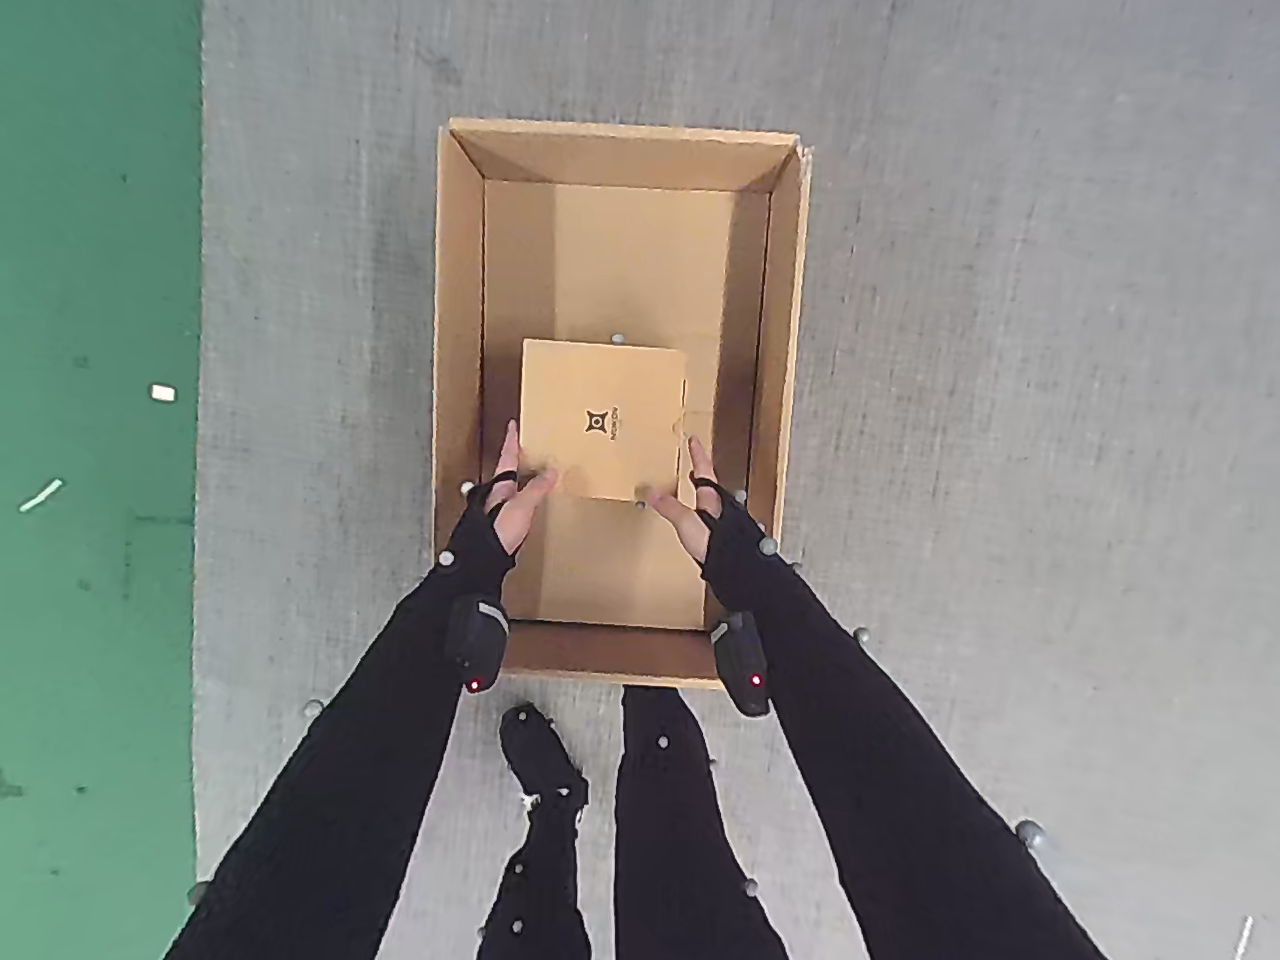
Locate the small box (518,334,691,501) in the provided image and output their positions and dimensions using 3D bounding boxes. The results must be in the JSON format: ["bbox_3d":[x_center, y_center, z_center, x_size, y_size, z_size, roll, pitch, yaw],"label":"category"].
[{"bbox_3d":[-0.038,-0.072,0.649,0.179,0.176,0.168,4,96,0],"label":"small box"}]
